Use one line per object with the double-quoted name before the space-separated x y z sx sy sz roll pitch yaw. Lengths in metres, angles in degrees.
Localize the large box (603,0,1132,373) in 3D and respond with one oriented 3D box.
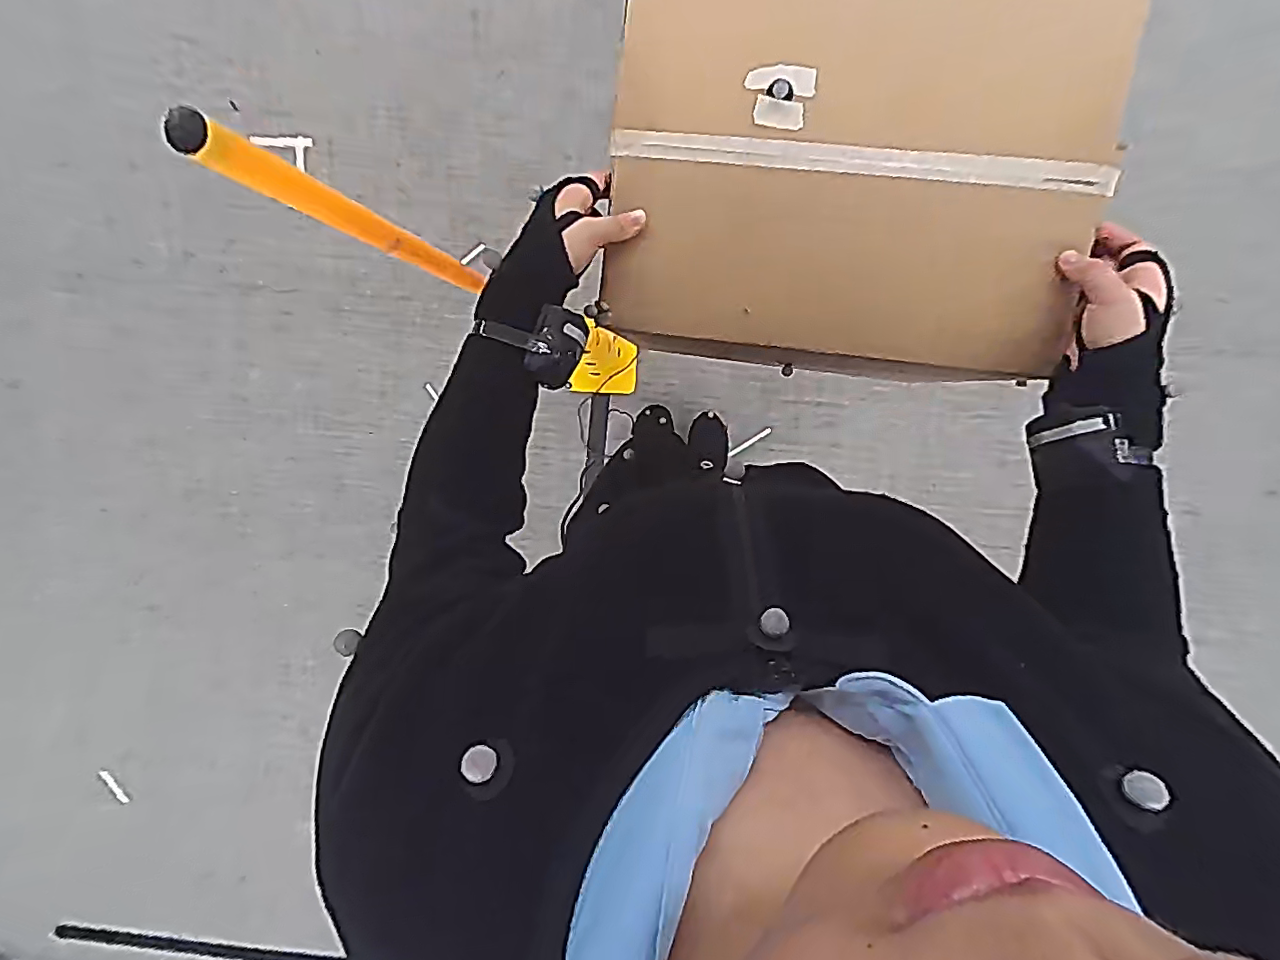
"large box" 0.197 -0.296 0.612 0.408 0.320 0.320 8 99 6
